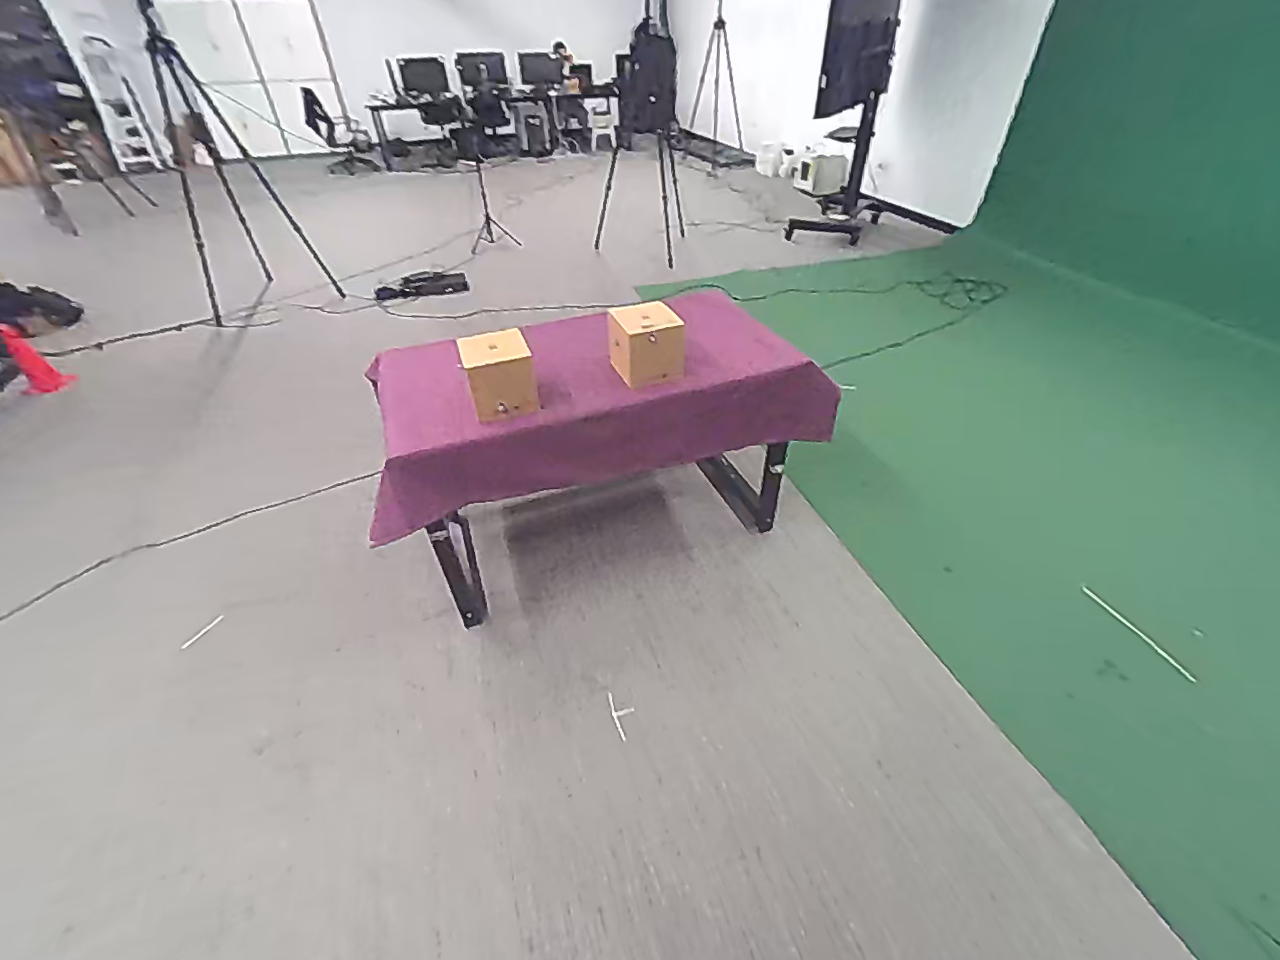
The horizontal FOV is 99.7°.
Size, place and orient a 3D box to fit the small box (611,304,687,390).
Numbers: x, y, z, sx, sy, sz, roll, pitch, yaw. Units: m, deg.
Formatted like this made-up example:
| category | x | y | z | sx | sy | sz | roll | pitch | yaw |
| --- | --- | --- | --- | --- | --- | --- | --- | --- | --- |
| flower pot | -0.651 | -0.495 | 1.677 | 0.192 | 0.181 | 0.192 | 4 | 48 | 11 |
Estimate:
| category | x | y | z | sx | sy | sz | roll | pitch | yaw |
| --- | --- | --- | --- | --- | --- | --- | --- | --- | --- |
| small box | 0.023 | -0.380 | 1.545 | 0.168 | 0.176 | 0.179 | -16 | 42 | -14 |

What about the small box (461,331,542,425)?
| category | x | y | z | sx | sy | sz | roll | pitch | yaw |
| --- | --- | --- | --- | --- | --- | --- | --- | --- | --- |
| small box | -0.366 | -0.270 | 1.431 | 0.168 | 0.176 | 0.179 | -15 | 43 | -14 |
